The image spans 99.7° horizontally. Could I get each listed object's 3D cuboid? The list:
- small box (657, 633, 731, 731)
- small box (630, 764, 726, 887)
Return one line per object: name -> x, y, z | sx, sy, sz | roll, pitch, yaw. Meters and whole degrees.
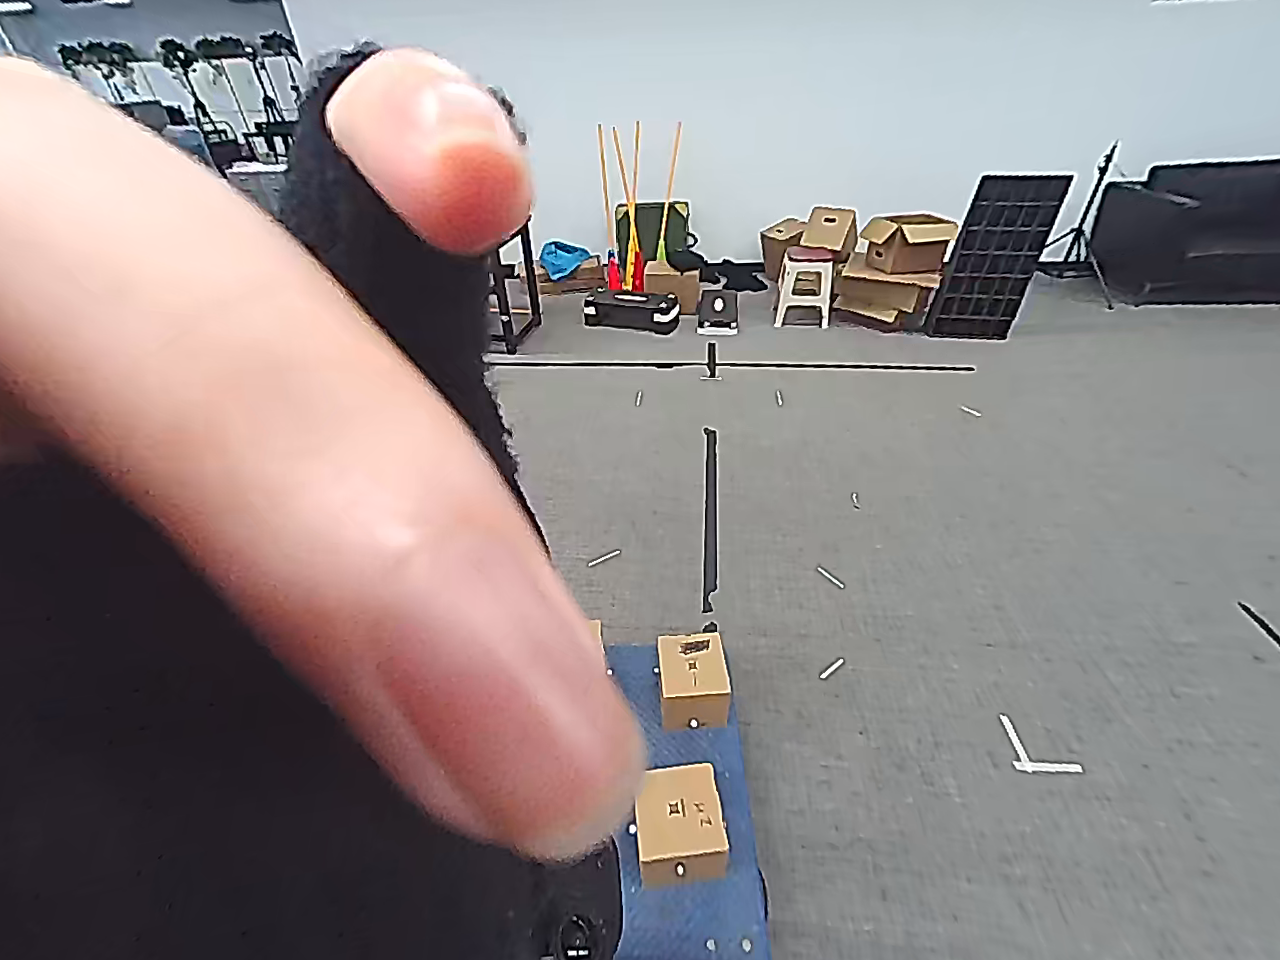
small box -> 0.132, 0.519, 1.395 | 0.168, 0.176, 0.179 | -3, 39, -1
small box -> 0.076, 0.725, 1.133 | 0.179, 0.176, 0.168 | -5, 38, -3
